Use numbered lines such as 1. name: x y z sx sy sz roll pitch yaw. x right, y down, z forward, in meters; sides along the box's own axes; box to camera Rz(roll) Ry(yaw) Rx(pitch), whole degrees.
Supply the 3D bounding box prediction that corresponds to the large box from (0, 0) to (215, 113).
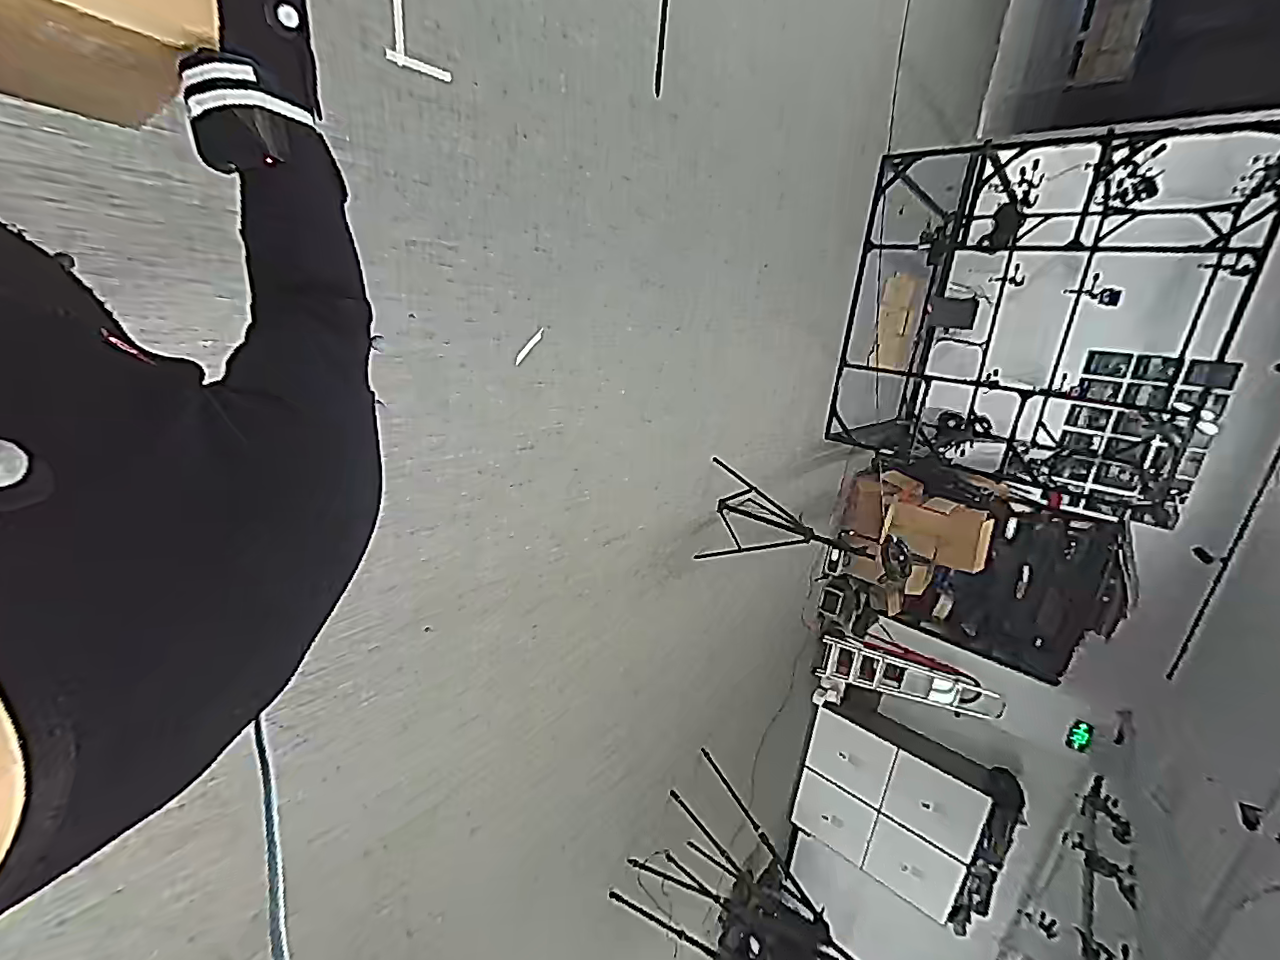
1. large box: -0.526 -0.459 0.283 0.408 0.320 0.320 -11 113 -49
